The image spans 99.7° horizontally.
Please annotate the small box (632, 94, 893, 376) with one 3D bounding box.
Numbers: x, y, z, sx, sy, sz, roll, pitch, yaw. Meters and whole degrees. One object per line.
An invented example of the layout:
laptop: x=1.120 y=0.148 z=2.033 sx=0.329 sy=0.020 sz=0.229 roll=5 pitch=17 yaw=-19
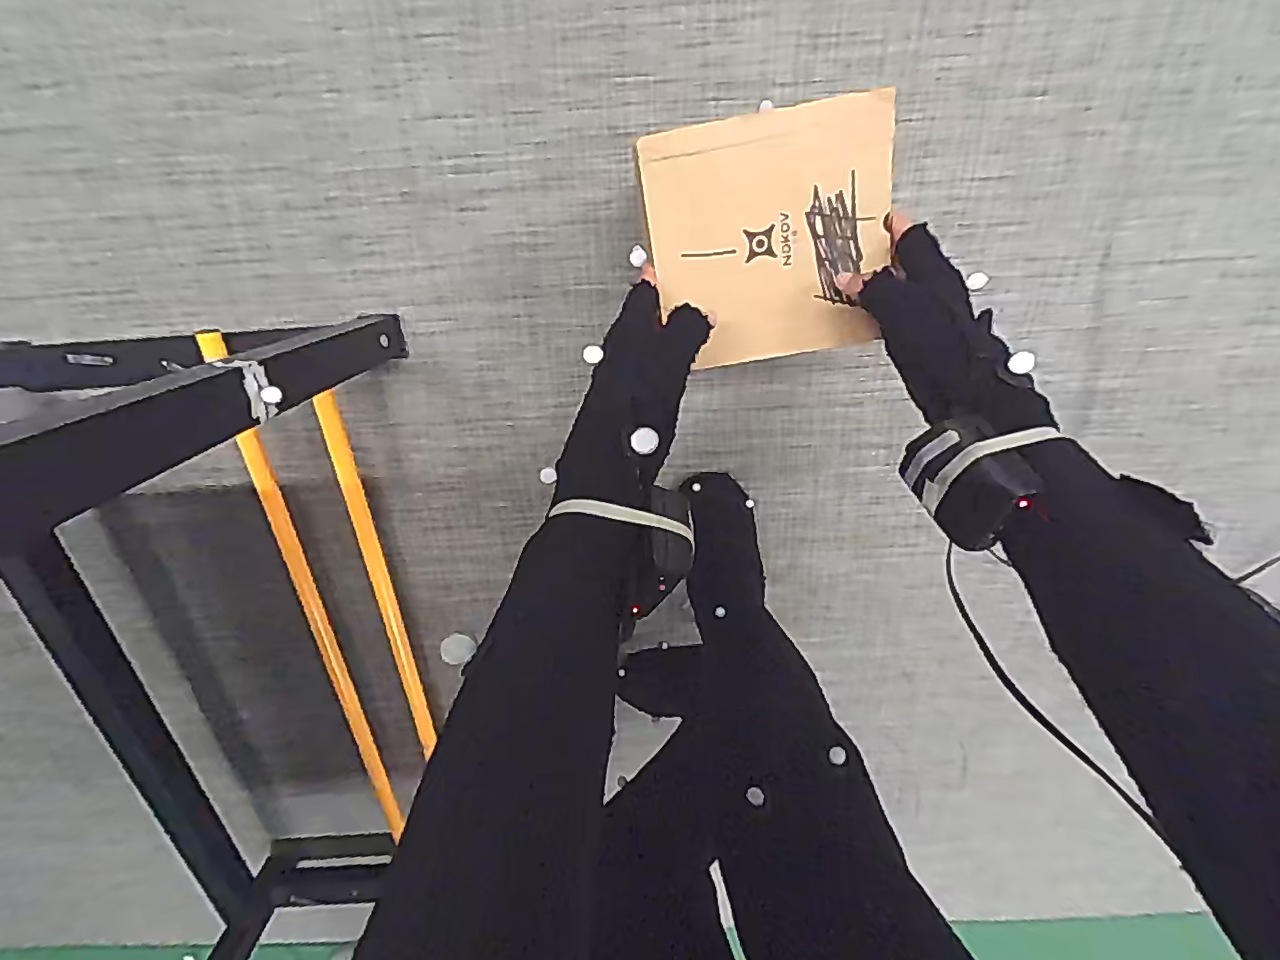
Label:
small box: x=0.092 y=-0.198 z=0.460 sx=0.179 sy=0.176 sz=0.168 roll=-8 pitch=112 yaw=5
